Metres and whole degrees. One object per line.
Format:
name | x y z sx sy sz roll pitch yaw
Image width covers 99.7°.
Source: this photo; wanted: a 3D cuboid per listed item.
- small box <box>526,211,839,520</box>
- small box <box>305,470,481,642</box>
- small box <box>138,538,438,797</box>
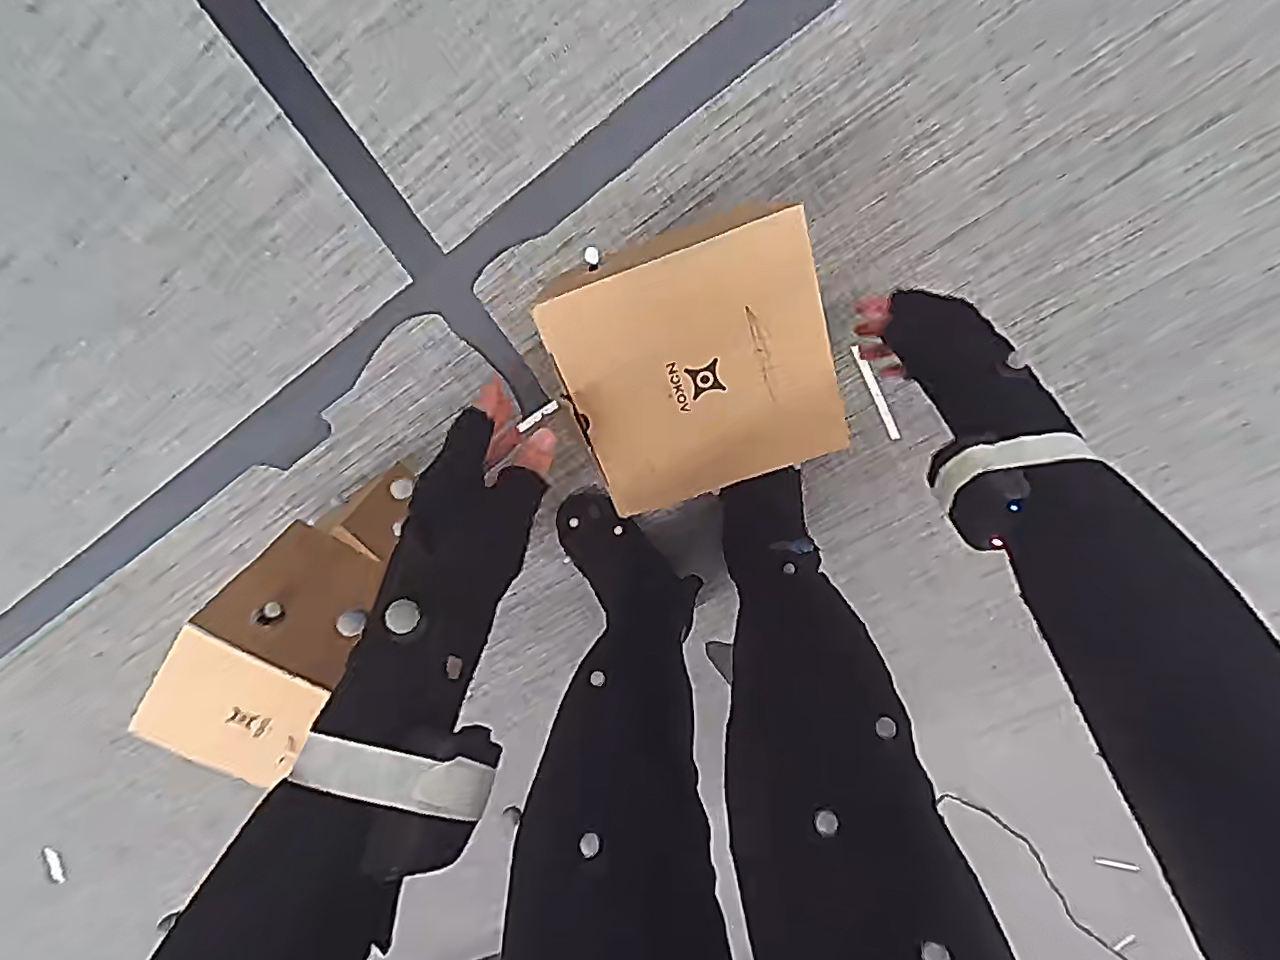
small box | 0.033 -0.098 0.431 0.179 0.176 0.168 -18 116 7
small box | -0.342 0.118 0.723 0.168 0.176 0.179 -32 112 15
small box | -0.351 0.187 0.573 0.179 0.176 0.168 38 112 -20
